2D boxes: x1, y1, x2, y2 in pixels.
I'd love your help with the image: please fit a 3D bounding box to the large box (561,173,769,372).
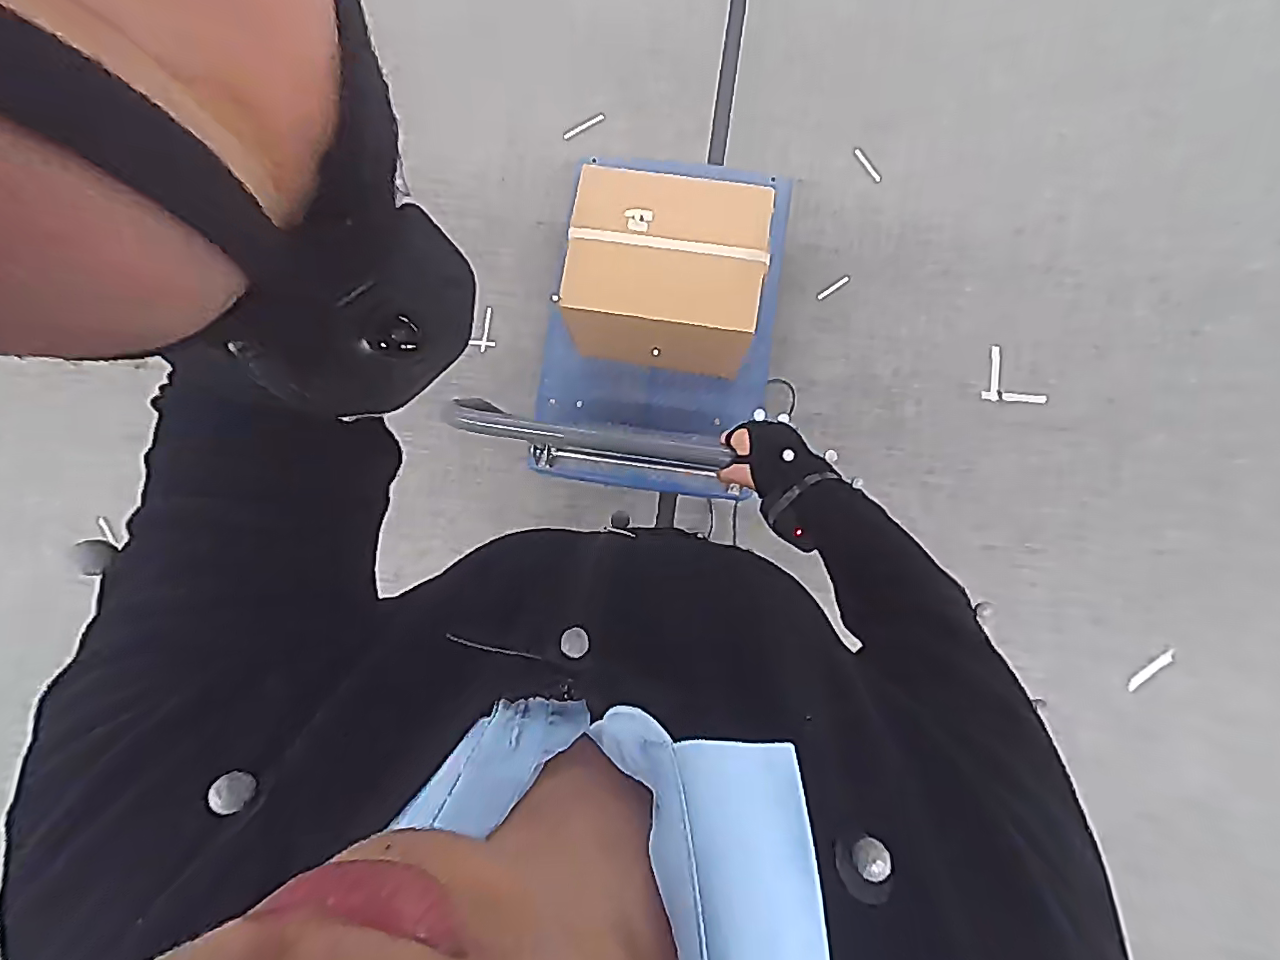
[{"bbox_3d":[0.064,-0.461,1.263,0.408,0.320,0.320,8,83,5],"label":"large box"}]
